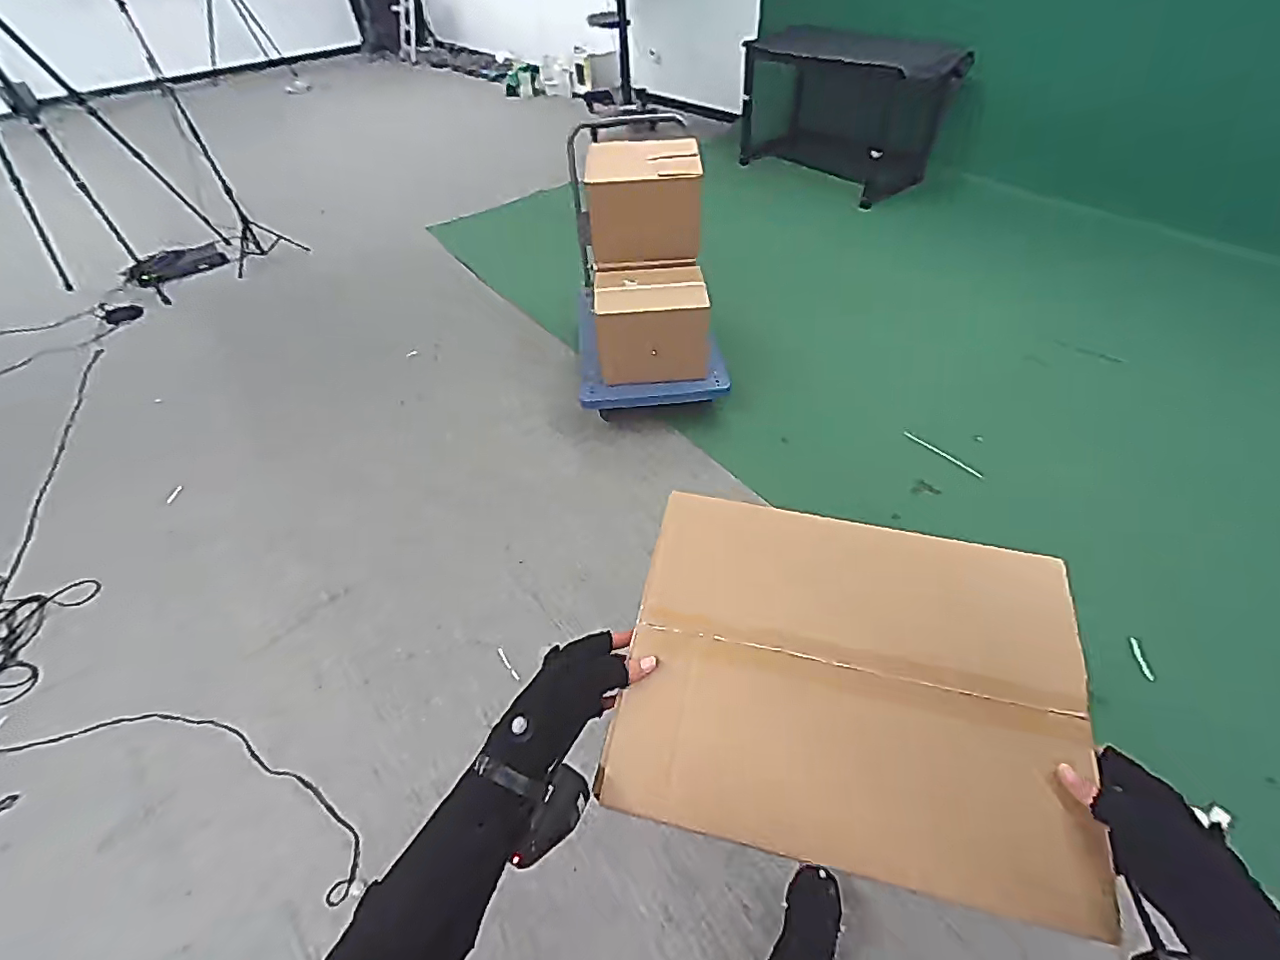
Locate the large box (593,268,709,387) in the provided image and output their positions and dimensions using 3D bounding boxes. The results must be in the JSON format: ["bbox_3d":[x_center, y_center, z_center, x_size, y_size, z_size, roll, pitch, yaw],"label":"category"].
[{"bbox_3d":[0.042,-0.580,2.066,0.408,0.320,0.320,-4,47,1],"label":"large box"}]
